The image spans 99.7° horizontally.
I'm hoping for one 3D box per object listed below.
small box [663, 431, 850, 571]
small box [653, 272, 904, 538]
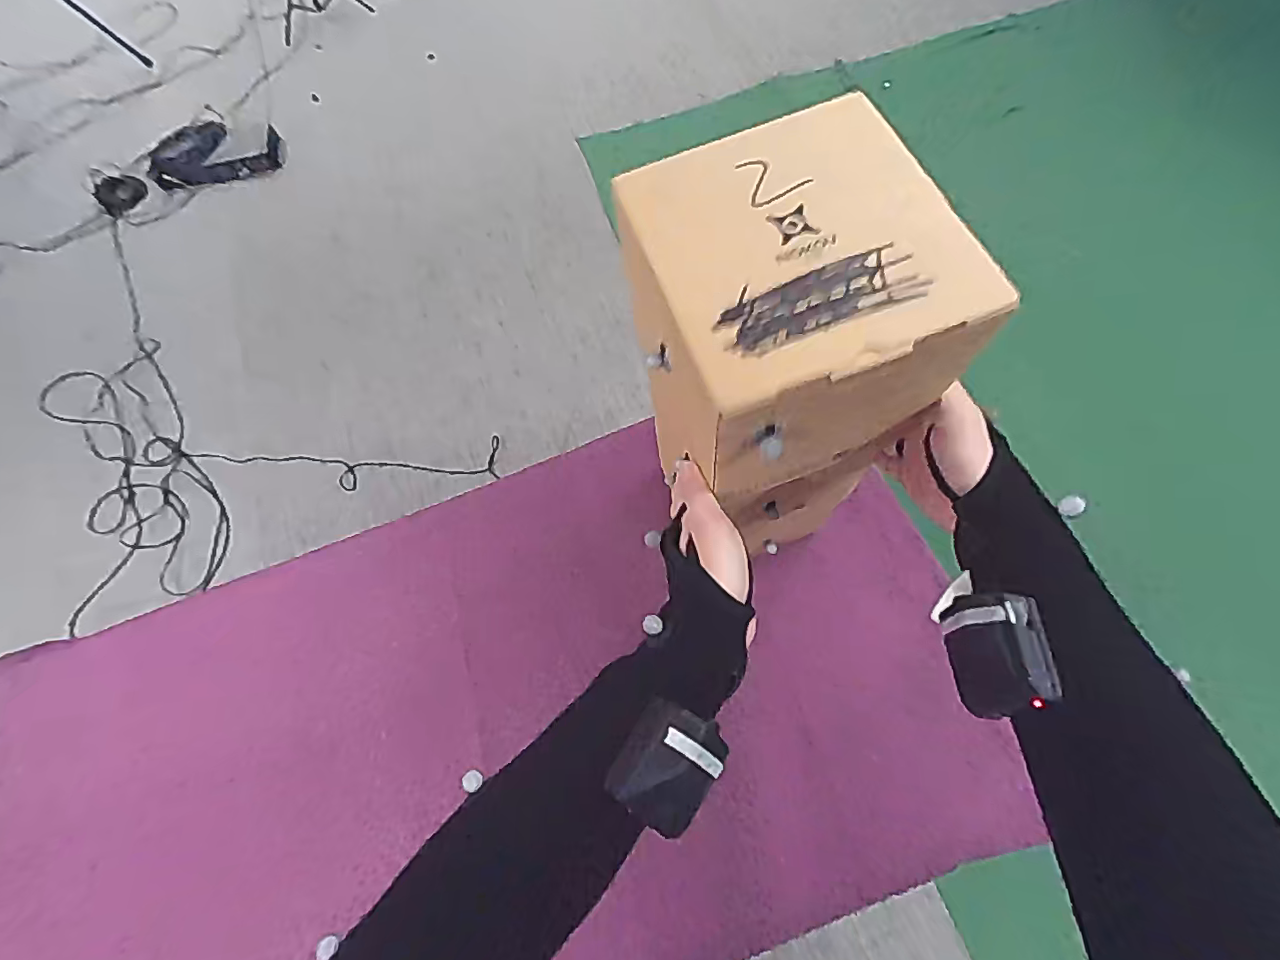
[{"bbox_3d":[0.129,-0.005,0.682,0.168,0.176,0.179,-20,68,-2],"label":"small box"},{"bbox_3d":[0.114,-0.063,0.531,0.168,0.176,0.179,-17,69,-3],"label":"small box"}]
